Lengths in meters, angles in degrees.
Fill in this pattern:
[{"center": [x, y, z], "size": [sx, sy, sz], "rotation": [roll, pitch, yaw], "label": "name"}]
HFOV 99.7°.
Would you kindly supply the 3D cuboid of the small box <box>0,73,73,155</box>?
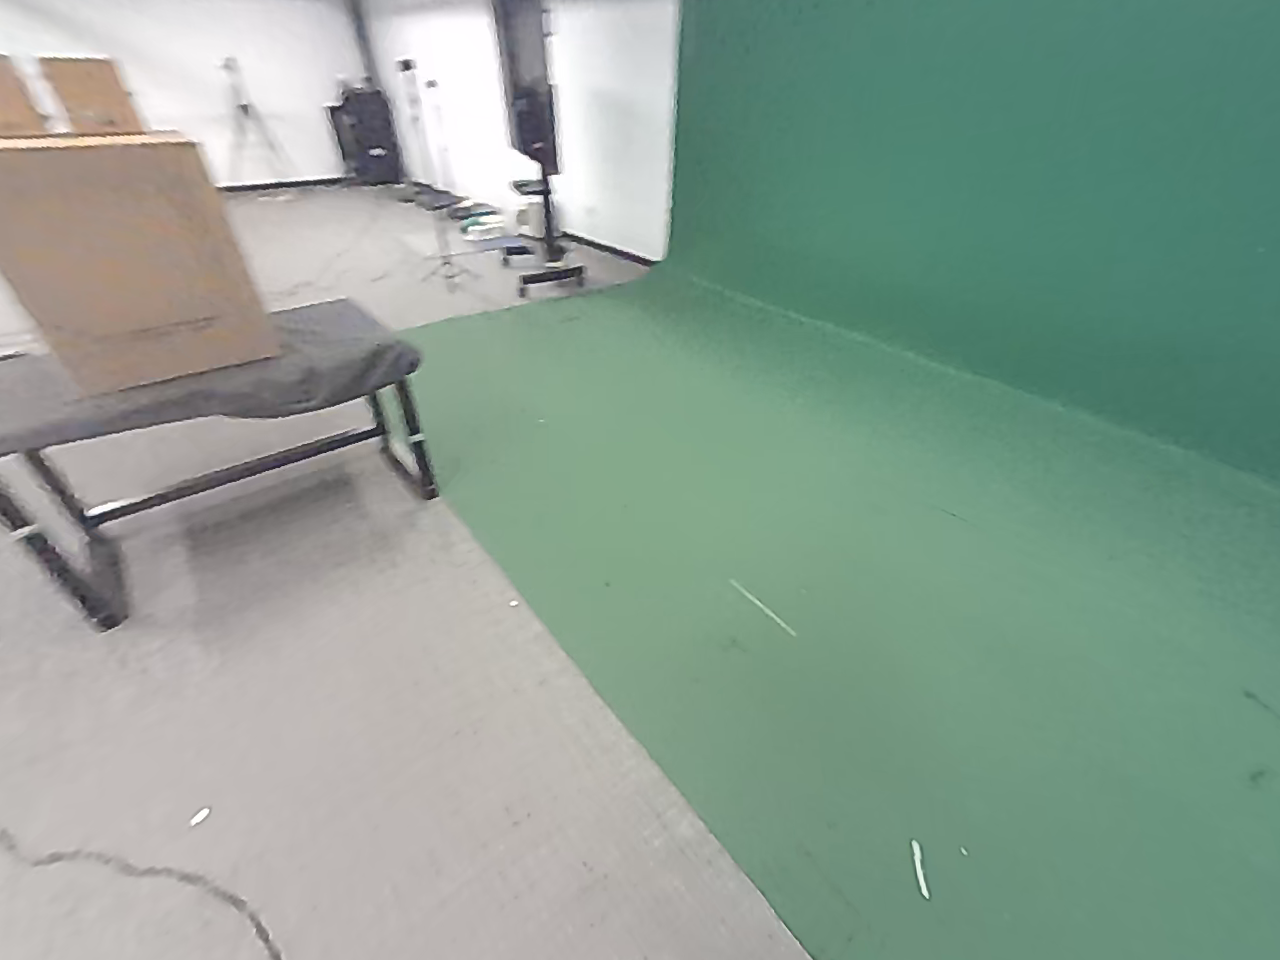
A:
[{"center": [-1.609, -0.933, 1.383], "size": [0.168, 0.176, 0.179], "rotation": [-26, 41, -30], "label": "small box"}]
